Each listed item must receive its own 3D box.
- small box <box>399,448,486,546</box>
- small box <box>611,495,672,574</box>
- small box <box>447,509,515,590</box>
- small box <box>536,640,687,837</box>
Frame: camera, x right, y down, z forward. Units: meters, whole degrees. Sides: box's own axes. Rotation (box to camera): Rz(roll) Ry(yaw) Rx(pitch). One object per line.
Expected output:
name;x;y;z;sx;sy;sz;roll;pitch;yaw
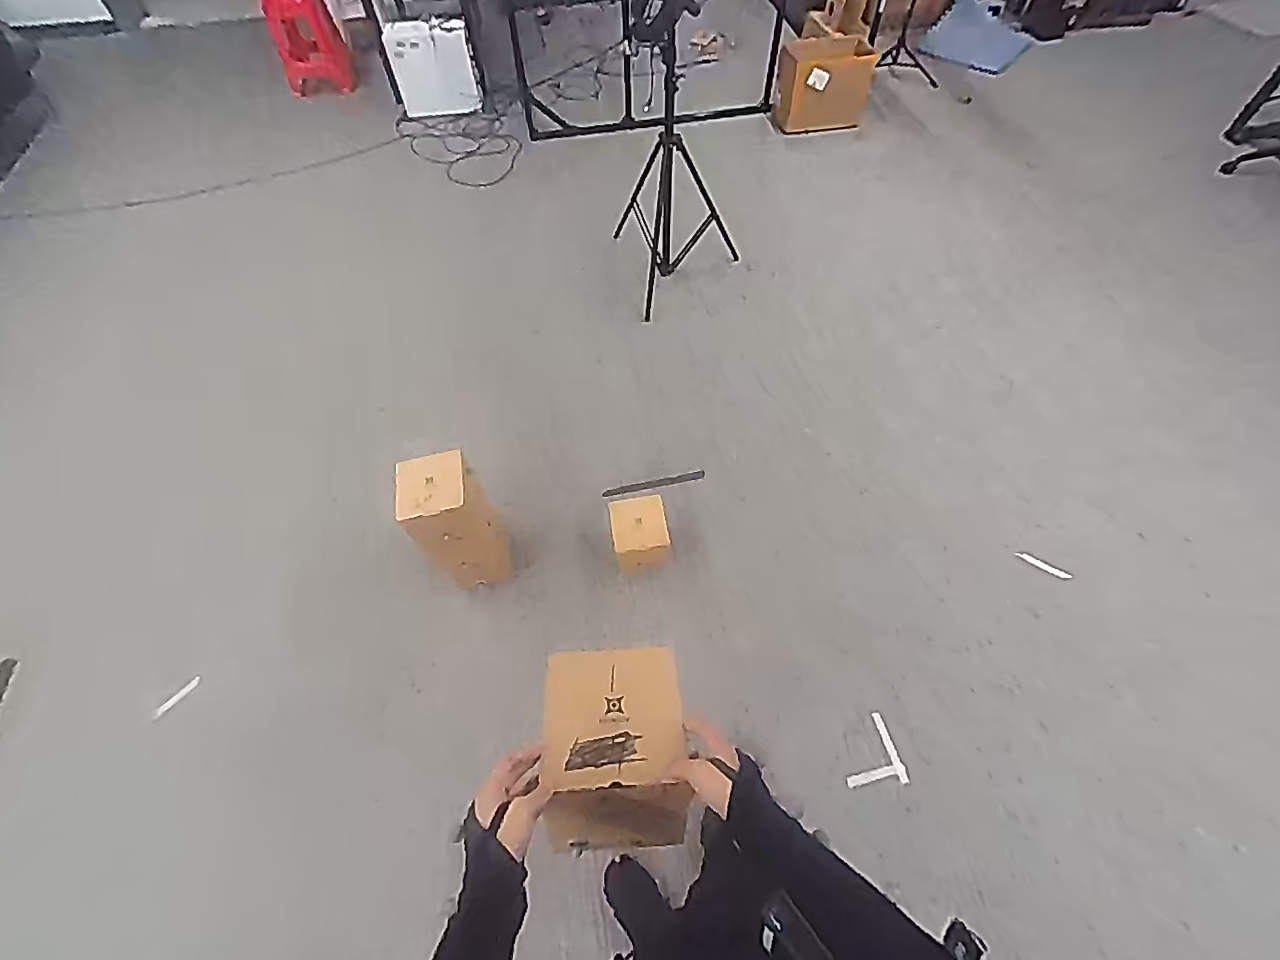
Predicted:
small box;-0.505;0.047;1.395;0.168;0.176;0.179;-13;59;-5
small box;0.001;0.172;1.690;0.168;0.176;0.179;-8;58;-4
small box;-0.492;0.217;1.675;0.168;0.176;0.179;-12;58;-5
small box;-0.034;0.330;0.688;0.168;0.176;0.179;-1;36;-4
